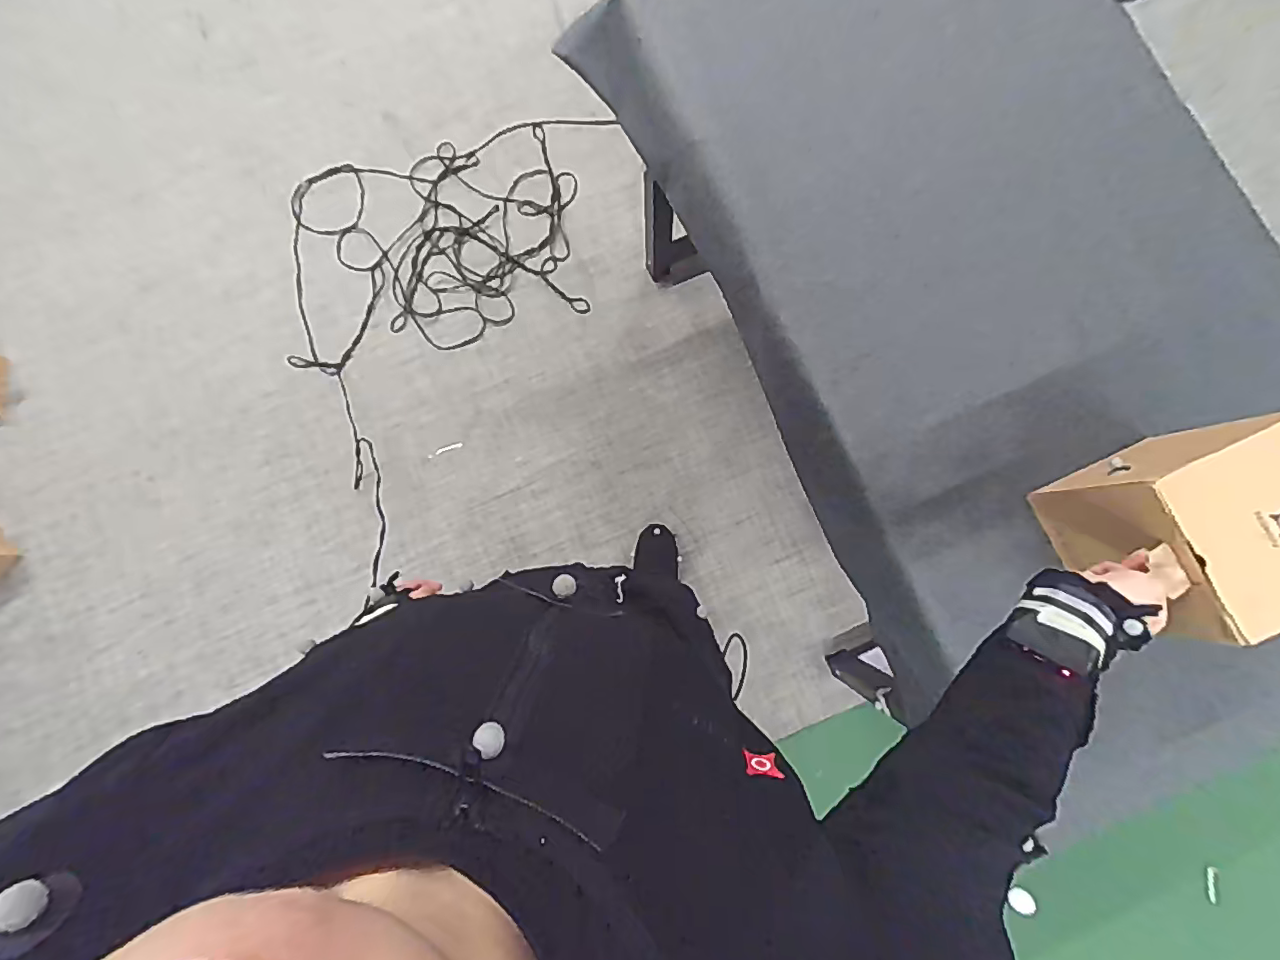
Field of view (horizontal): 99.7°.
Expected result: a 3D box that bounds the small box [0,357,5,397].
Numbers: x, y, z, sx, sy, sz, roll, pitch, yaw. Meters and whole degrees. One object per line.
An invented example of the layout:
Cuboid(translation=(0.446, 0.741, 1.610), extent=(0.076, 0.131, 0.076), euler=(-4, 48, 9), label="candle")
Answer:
Cuboid(translation=(-1.805, -0.259, 1.375), extent=(0.179, 0.176, 0.168), euler=(-3, 83, 0), label="small box")

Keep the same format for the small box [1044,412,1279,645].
Cuboid(translation=(0.576, 0.049, 0.566), extent=(0.179, 0.176, 0.168), euler=(-25, 85, -3), label="small box")
